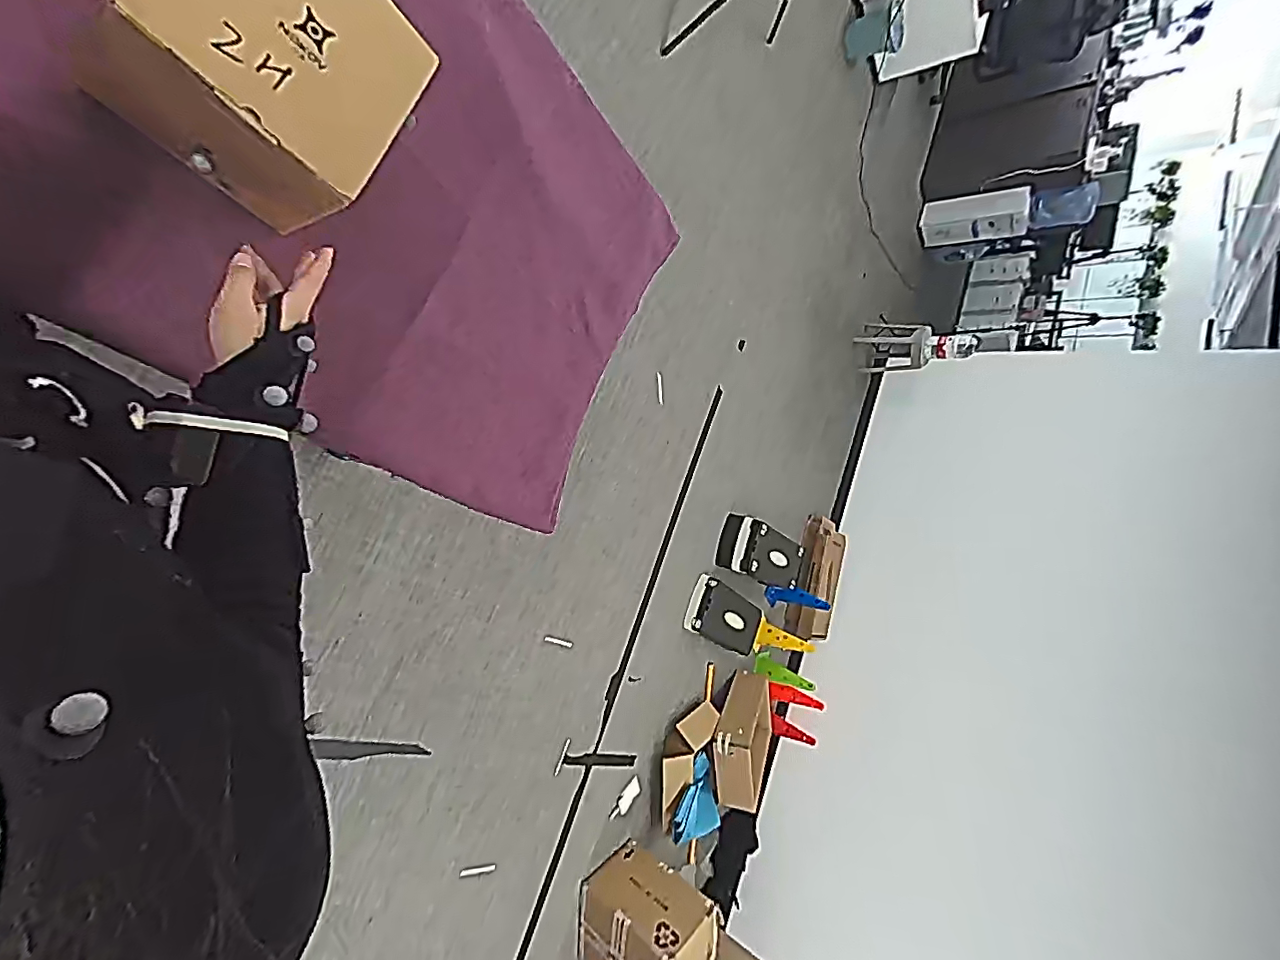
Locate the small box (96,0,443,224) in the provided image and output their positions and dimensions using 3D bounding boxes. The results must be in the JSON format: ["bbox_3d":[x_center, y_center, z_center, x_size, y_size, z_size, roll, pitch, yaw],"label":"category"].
[{"bbox_3d":[-0.314,-0.356,0.466,0.168,0.176,0.179,38,69,-48],"label":"small box"}]

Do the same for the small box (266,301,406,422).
[{"bbox_3d":[-0.623,-0.236,1.101,0.168,0.176,0.179,37,69,-48],"label":"small box"}]
